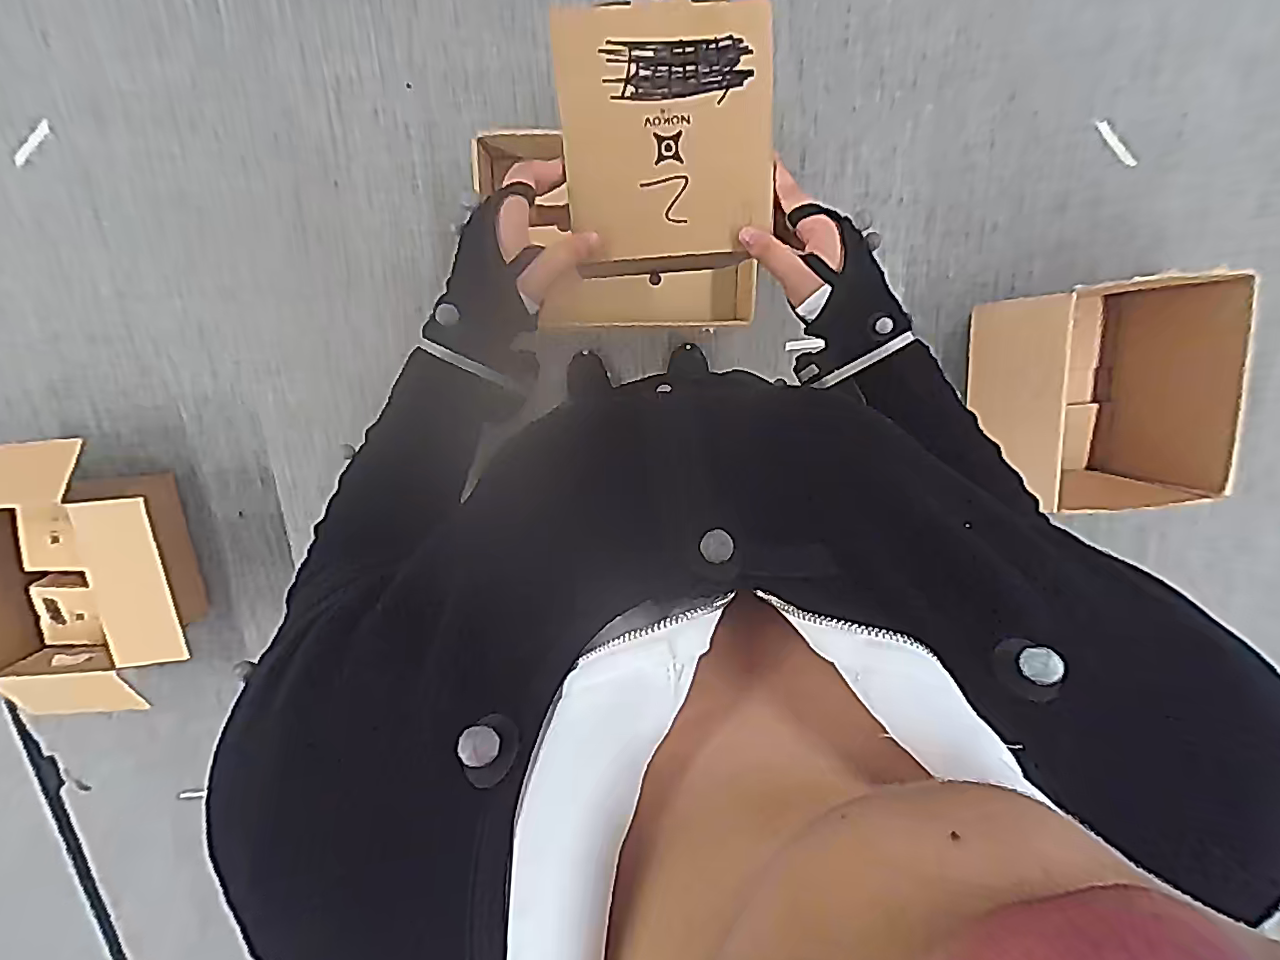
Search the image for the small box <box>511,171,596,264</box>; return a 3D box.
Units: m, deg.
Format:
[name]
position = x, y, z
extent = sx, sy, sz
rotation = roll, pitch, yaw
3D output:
[small box]
position = -0.190, -0.589, 1.234
extent = 0.179, 0.176, 0.168
rotation = -1, 106, -5
